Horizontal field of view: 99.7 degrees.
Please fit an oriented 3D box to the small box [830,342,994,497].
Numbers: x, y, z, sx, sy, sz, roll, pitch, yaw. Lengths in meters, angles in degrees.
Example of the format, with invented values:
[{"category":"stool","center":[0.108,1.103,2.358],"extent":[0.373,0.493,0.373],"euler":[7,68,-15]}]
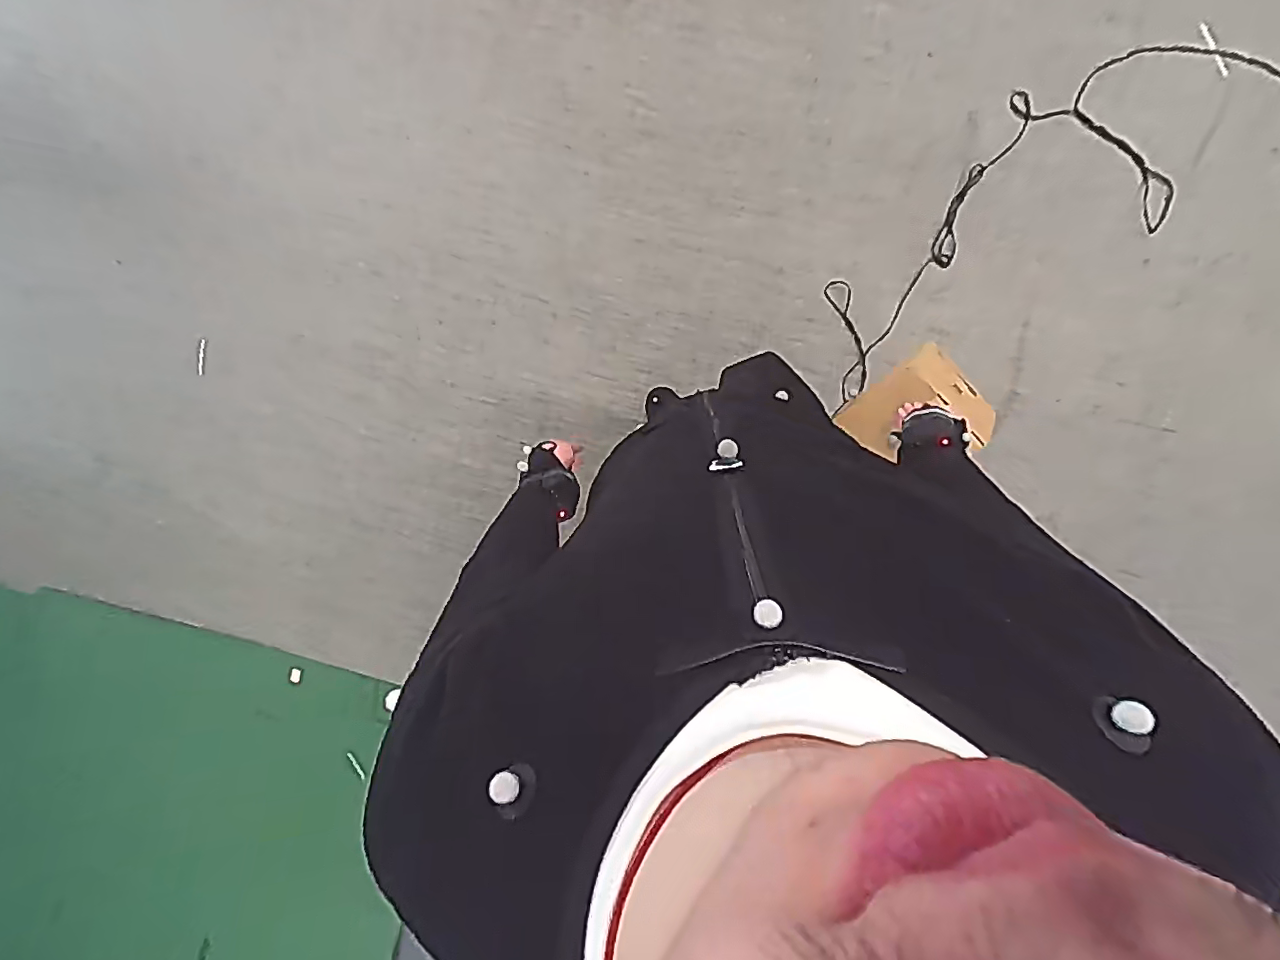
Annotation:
[{"category":"small box","center":[0.450,-0.099,0.906],"extent":[0.168,0.179,0.176],"euler":[48,133,5]}]
